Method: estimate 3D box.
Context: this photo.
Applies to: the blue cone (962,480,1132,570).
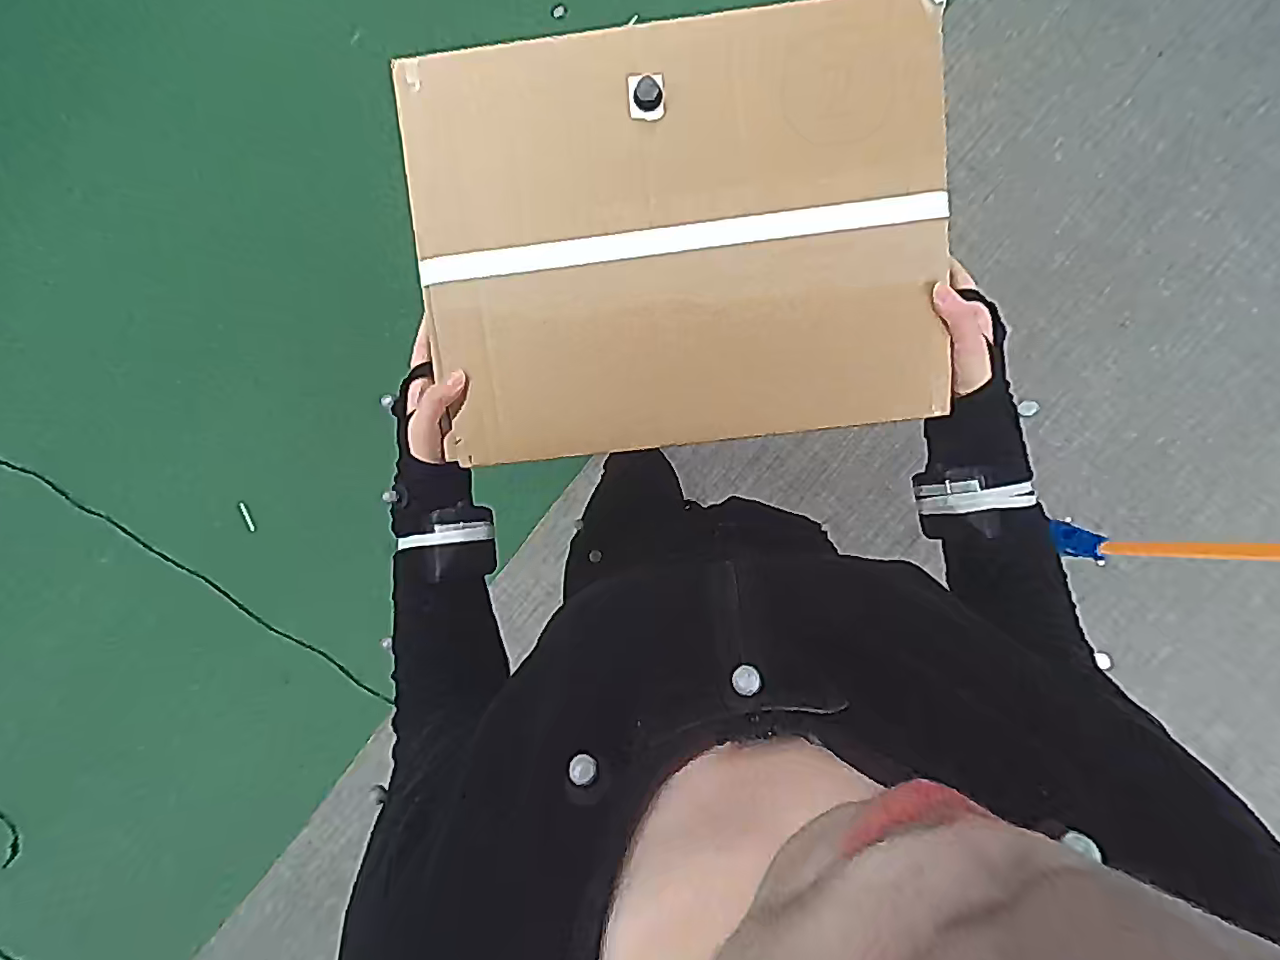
[{"bbox_3d":[0.956,0.118,1.256,0.192,0.380,0.193,36,92,1],"label":"blue cone"}]
